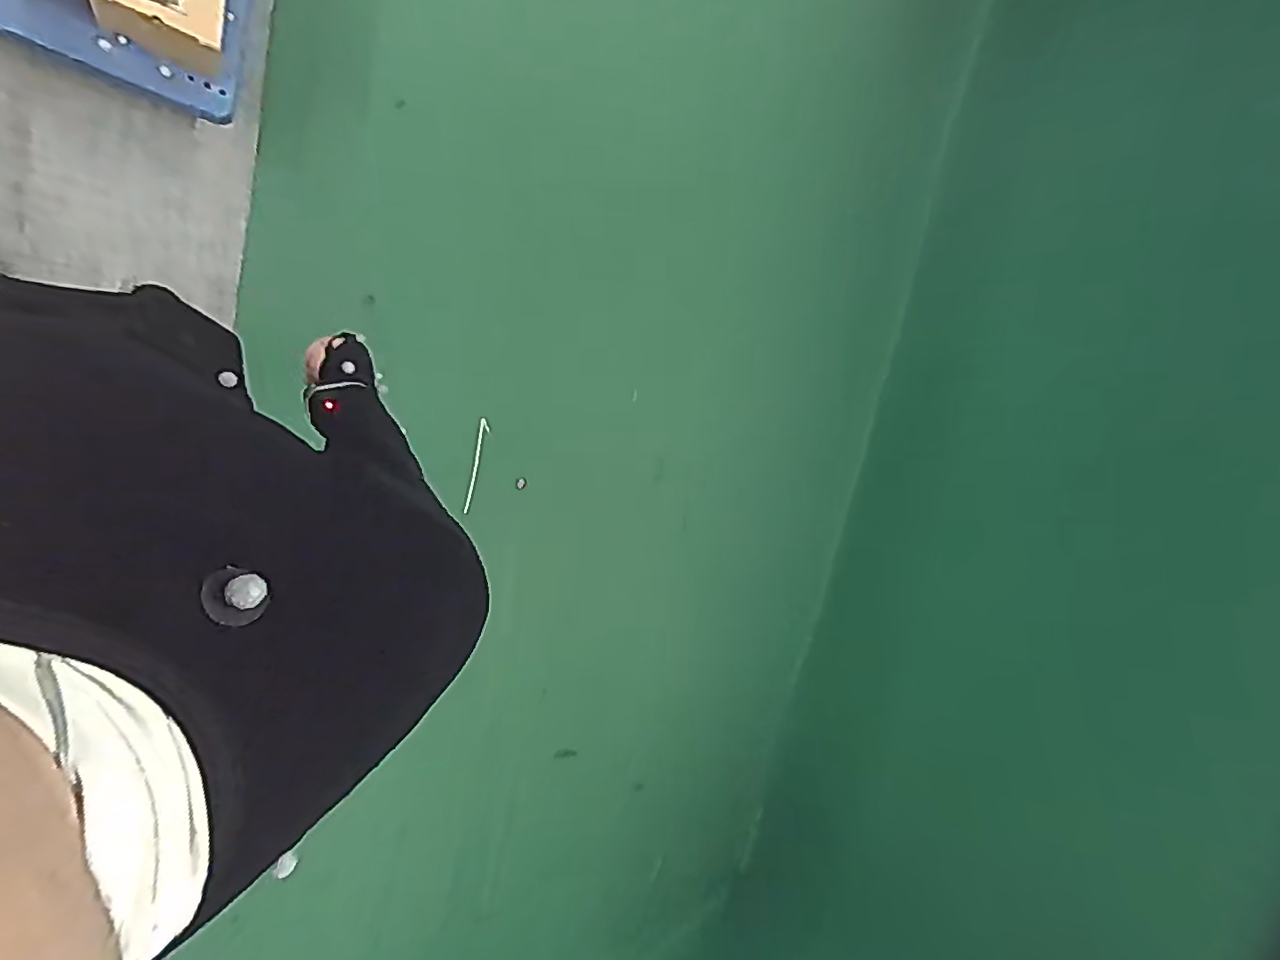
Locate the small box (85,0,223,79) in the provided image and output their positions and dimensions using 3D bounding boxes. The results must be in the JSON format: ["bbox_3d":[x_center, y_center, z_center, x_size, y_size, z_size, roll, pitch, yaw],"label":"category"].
[{"bbox_3d":[-0.825,-0.841,0.929,0.168,0.176,0.179,5,100,-41],"label":"small box"}]
